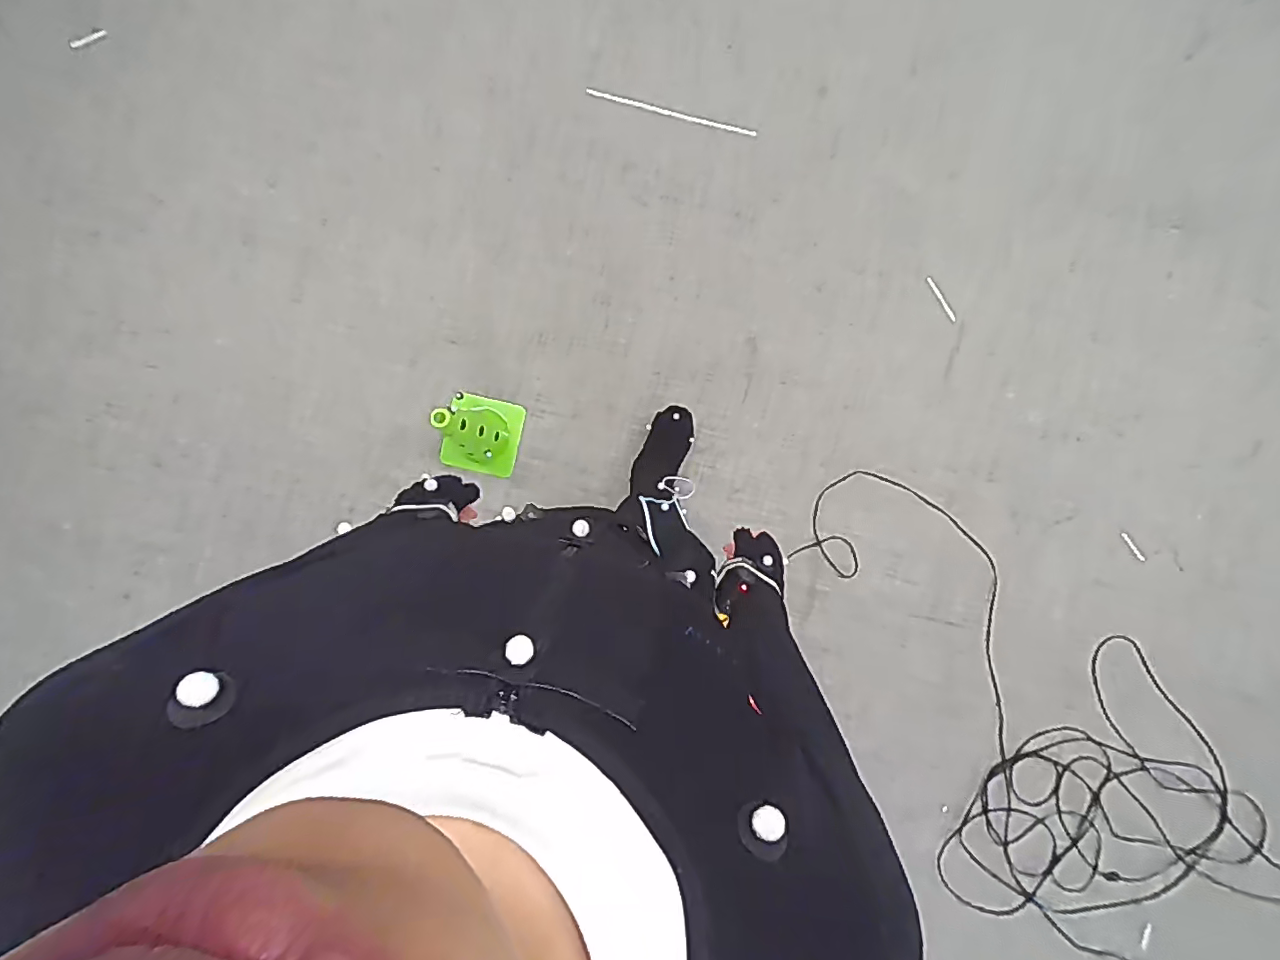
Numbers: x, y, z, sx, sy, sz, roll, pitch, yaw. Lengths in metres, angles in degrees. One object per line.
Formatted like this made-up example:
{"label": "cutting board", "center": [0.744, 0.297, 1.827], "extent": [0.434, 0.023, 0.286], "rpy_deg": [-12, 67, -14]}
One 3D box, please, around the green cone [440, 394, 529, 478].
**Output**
{"label": "green cone", "center": [-0.407, -0.118, 1.290], "extent": [0.202, 0.368, 0.200], "rpy_deg": [13, 90, -3]}
